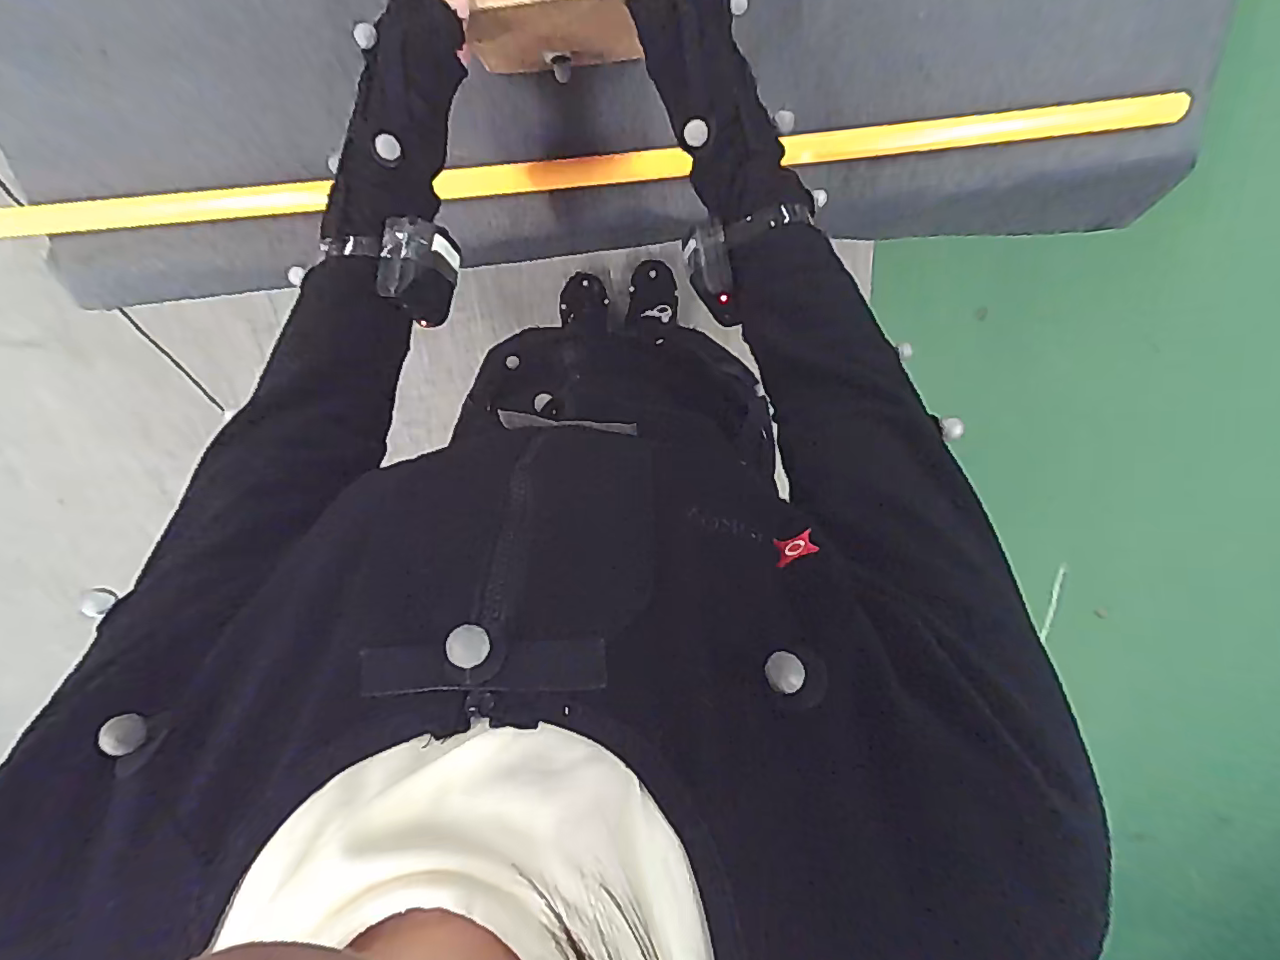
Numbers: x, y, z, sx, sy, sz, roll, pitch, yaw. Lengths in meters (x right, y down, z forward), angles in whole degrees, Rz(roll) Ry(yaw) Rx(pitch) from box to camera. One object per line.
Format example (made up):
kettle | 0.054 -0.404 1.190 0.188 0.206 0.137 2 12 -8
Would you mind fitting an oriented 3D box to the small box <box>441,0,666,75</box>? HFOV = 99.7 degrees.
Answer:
small box | -0.072 -0.451 0.420 0.168 0.176 0.179 -7 115 2
